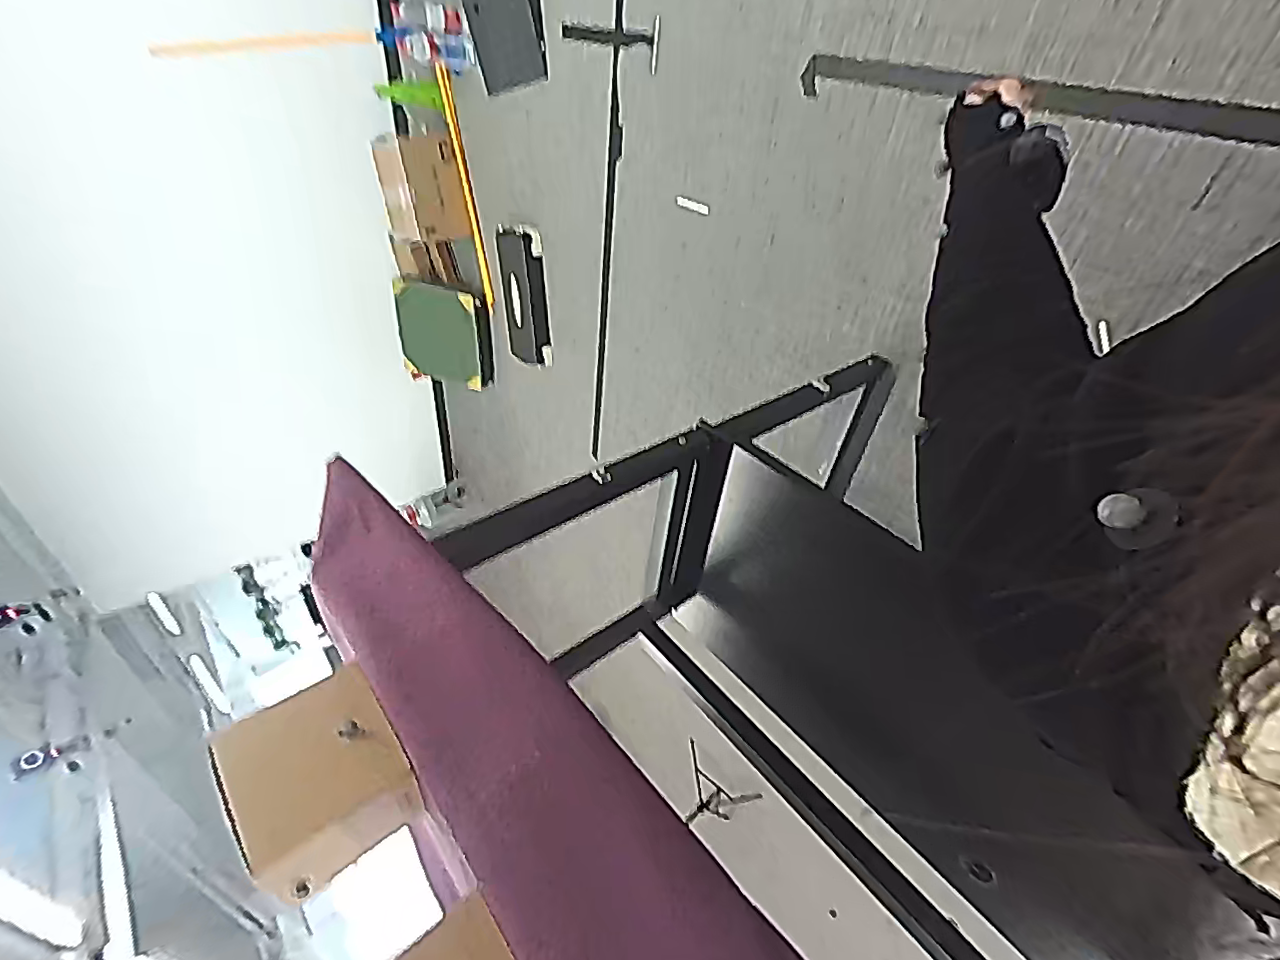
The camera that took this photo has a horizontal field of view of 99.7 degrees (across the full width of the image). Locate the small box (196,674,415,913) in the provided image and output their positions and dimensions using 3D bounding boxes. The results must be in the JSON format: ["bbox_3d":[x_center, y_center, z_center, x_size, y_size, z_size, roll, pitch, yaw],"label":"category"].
[{"bbox_3d":[-0.397,0.368,0.662,0.179,0.176,0.168,43,141,29],"label":"small box"}]
